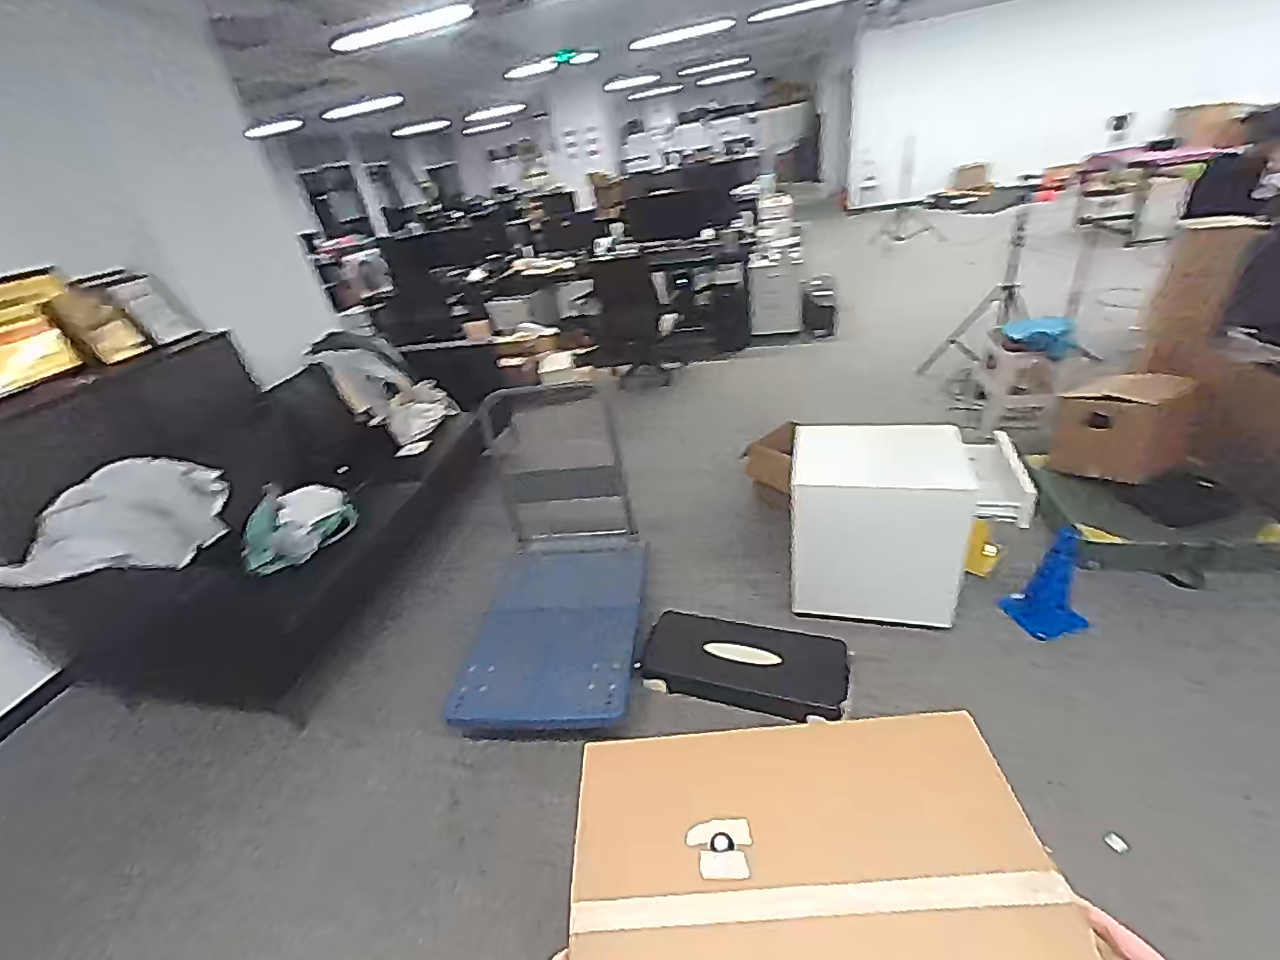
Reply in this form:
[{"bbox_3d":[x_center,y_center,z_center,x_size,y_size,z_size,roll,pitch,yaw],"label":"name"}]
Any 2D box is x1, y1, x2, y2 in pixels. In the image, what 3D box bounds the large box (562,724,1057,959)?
[{"bbox_3d":[0.167,0.467,0.573,0.408,0.320,0.320,-4,50,16],"label":"large box"}]
